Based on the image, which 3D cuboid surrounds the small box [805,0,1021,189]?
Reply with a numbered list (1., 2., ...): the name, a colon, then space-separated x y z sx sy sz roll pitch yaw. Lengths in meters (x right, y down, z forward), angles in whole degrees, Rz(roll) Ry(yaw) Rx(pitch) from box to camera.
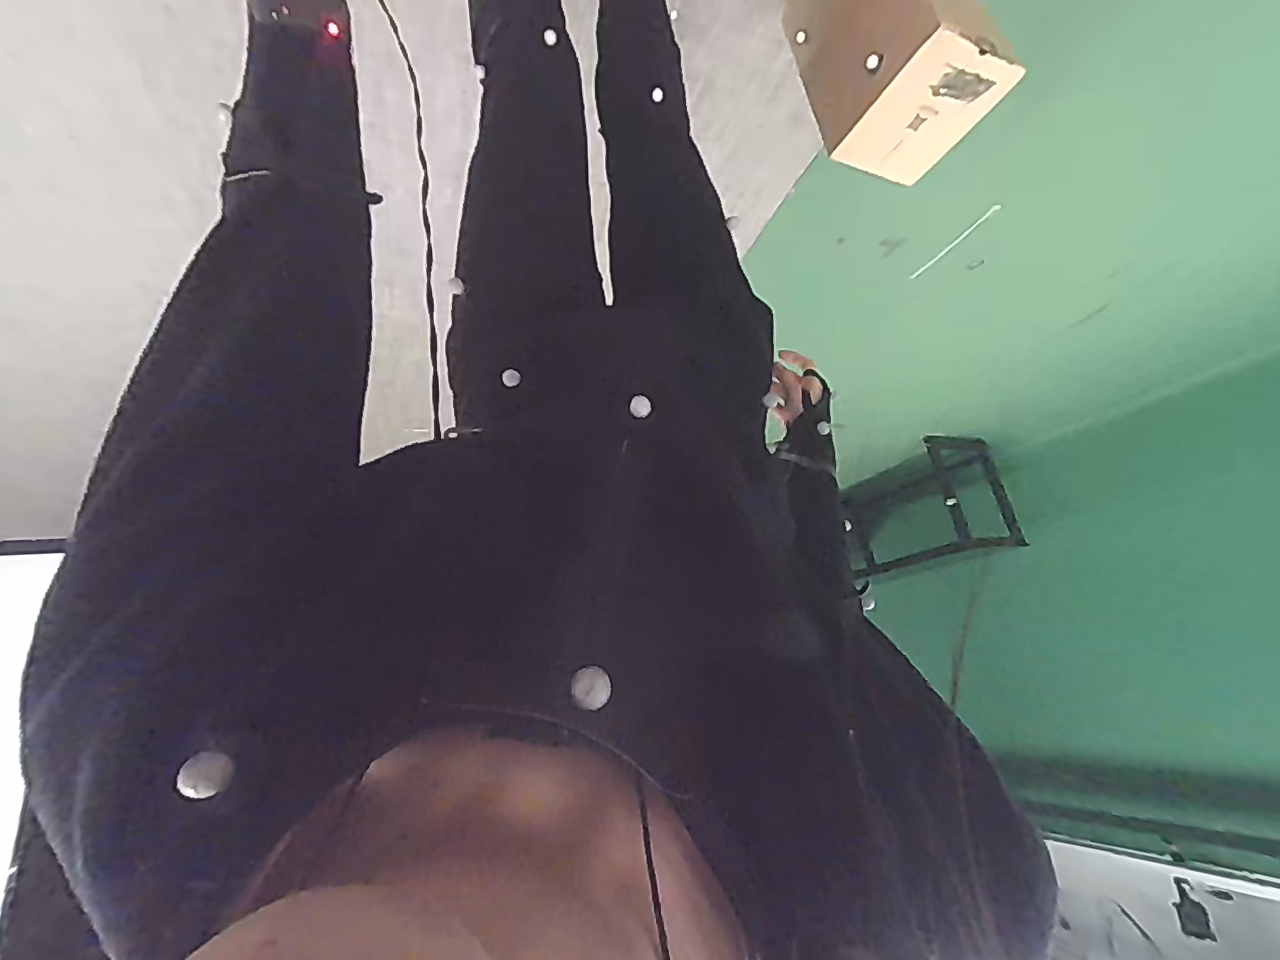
1. small box: 0.350 -0.539 0.723 0.168 0.176 0.179 0 160 -27
